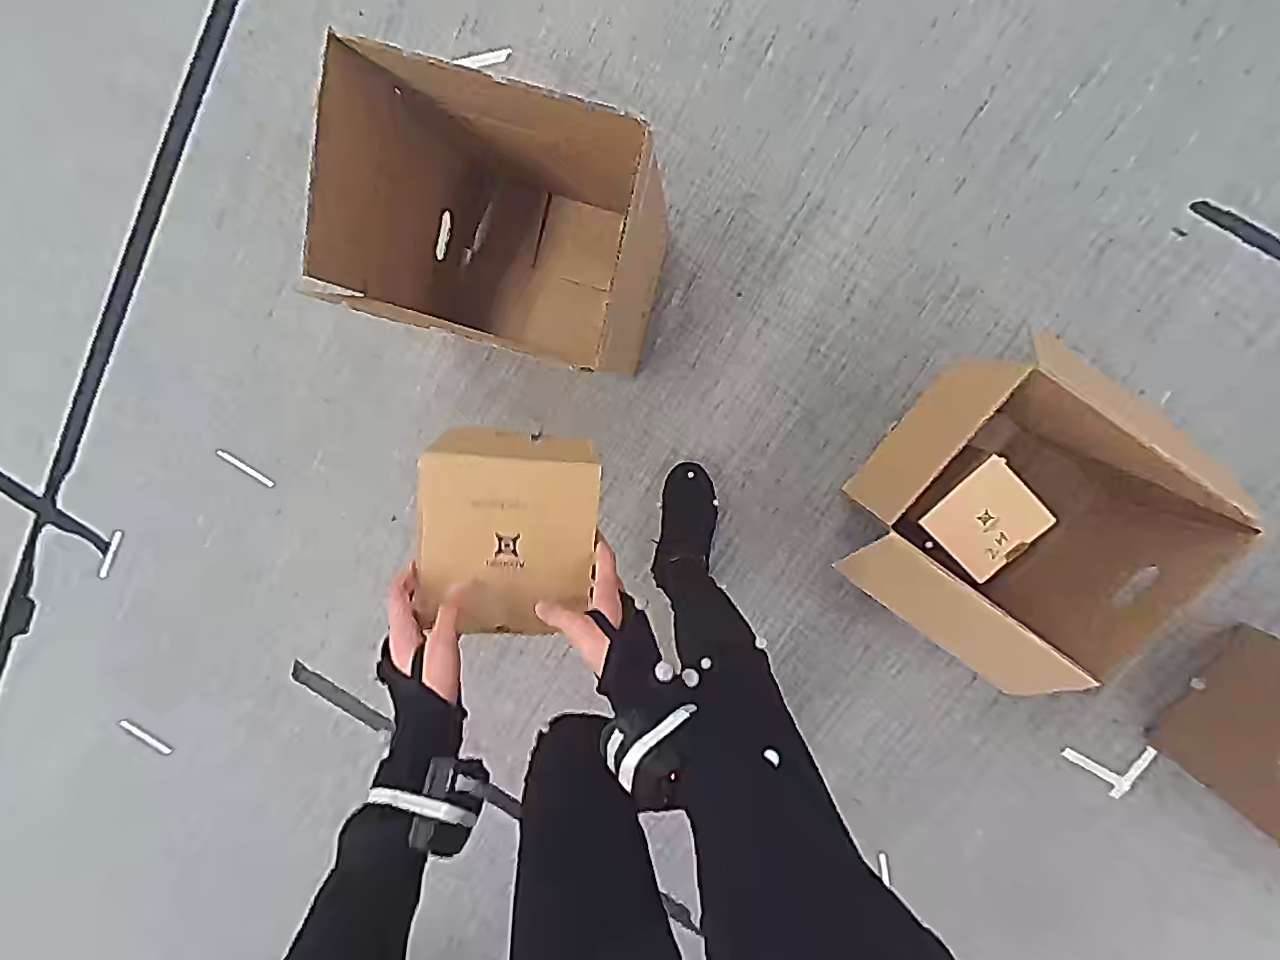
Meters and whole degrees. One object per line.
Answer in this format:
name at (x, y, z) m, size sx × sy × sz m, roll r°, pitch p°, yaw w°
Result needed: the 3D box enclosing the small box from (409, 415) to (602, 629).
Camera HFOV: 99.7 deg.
small box at (-0.137, 0.036, 0.576) m, size 0.168 × 0.176 × 0.179 m, roll 5°, pitch 104°, yaw -10°
